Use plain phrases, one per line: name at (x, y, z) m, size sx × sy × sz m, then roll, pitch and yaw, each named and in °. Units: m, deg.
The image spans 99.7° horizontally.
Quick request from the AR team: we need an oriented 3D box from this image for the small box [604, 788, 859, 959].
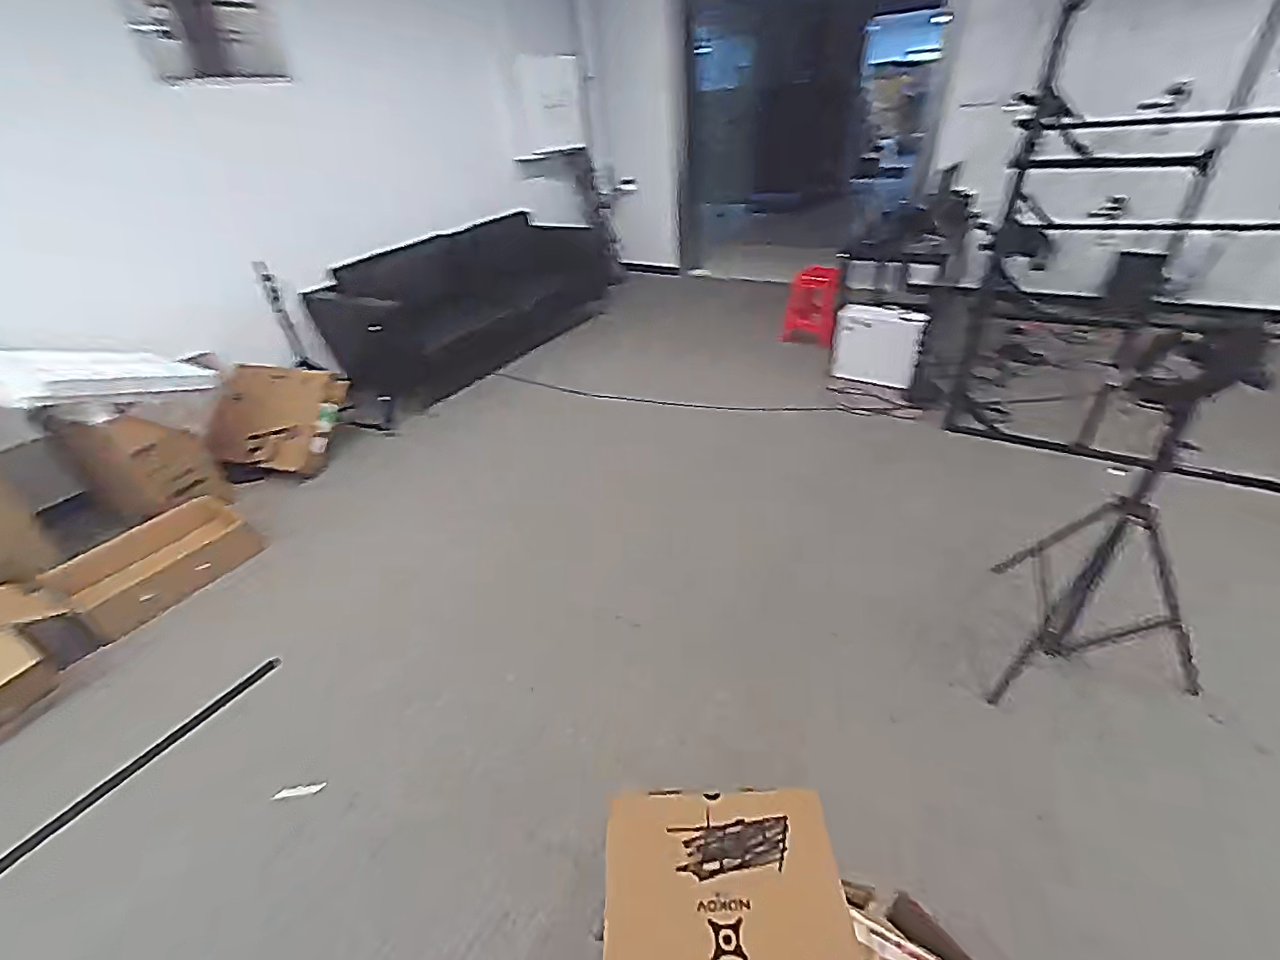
small box at (0.061, 0.363, 0.402) m, size 0.168 × 0.176 × 0.179 m, roll -4°, pitch 33°, yaw 0°
